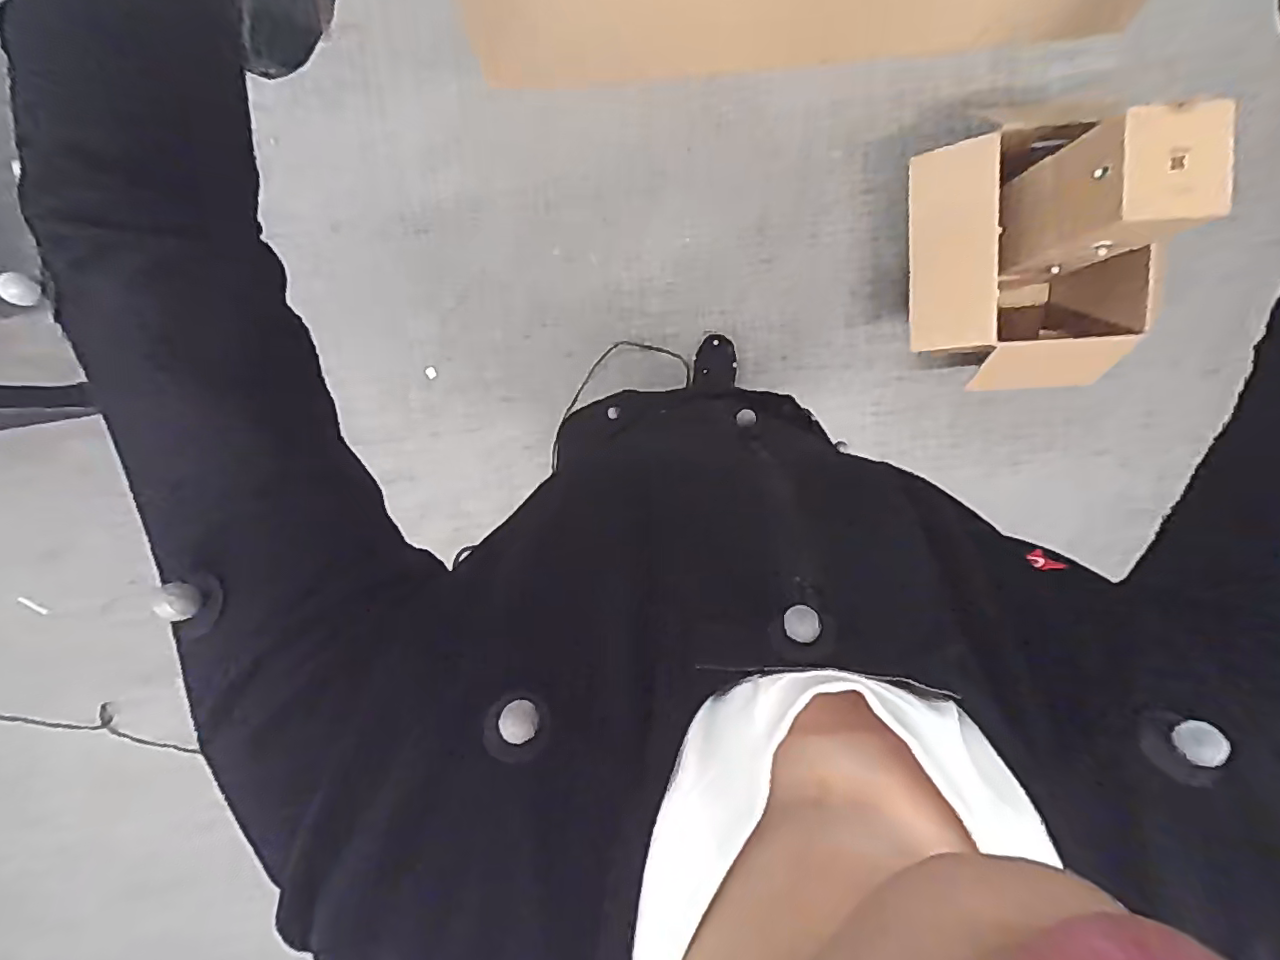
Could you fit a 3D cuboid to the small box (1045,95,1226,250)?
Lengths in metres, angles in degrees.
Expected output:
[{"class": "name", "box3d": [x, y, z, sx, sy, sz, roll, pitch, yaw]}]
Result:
[{"class": "small box", "box3d": [0.839, -0.519, 0.933, 0.168, 0.176, 0.179, -4, 97, 2]}]
